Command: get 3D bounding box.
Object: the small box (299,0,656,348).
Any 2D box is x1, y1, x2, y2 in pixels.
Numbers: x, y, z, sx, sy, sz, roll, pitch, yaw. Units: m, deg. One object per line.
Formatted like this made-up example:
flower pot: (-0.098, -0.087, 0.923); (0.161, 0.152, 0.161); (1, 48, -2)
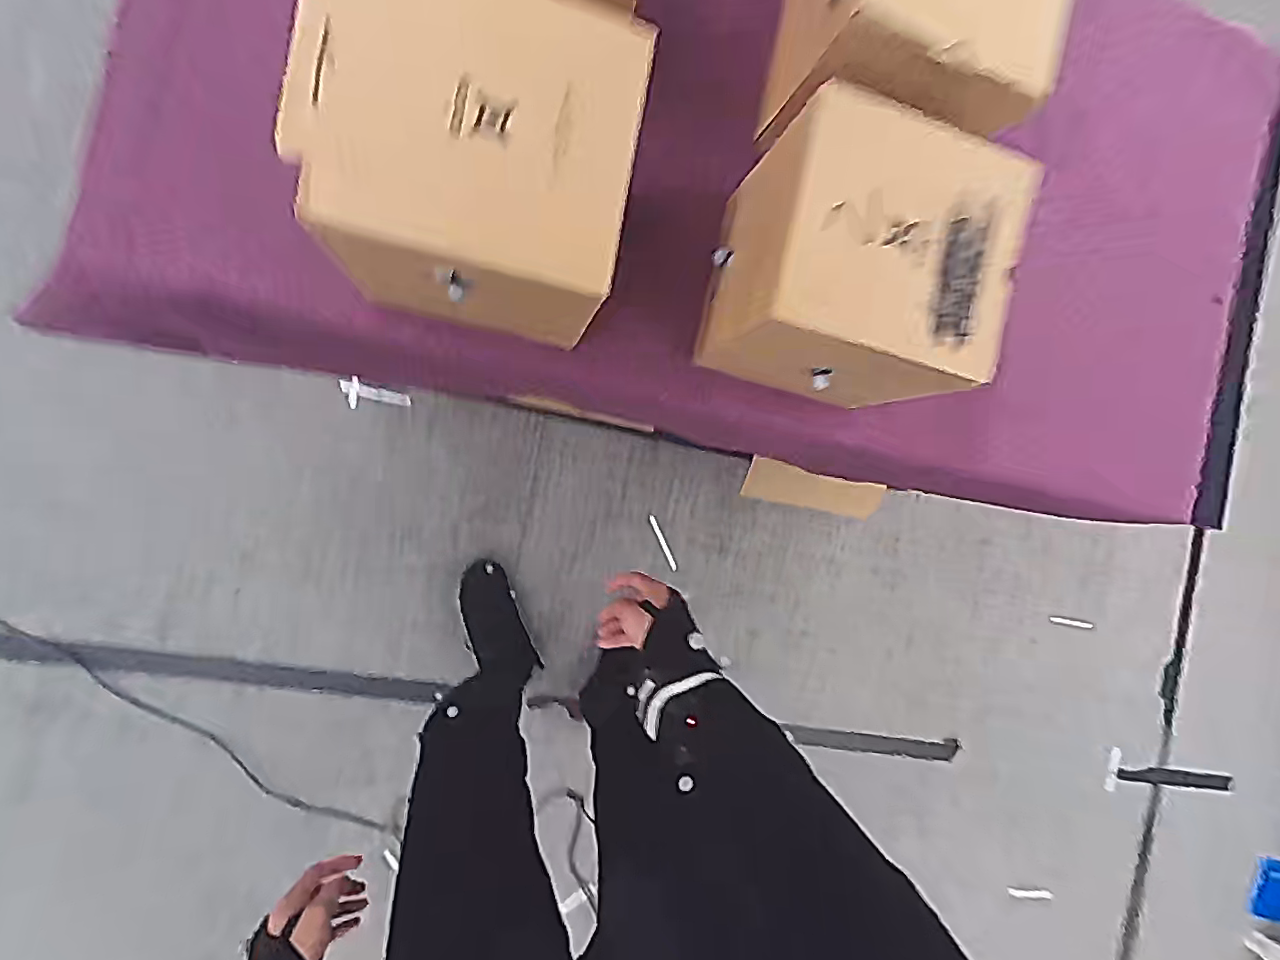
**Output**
small box: (-0.106, -0.206, 0.392); (0.179, 0.176, 0.168); (11, 89, -14)
